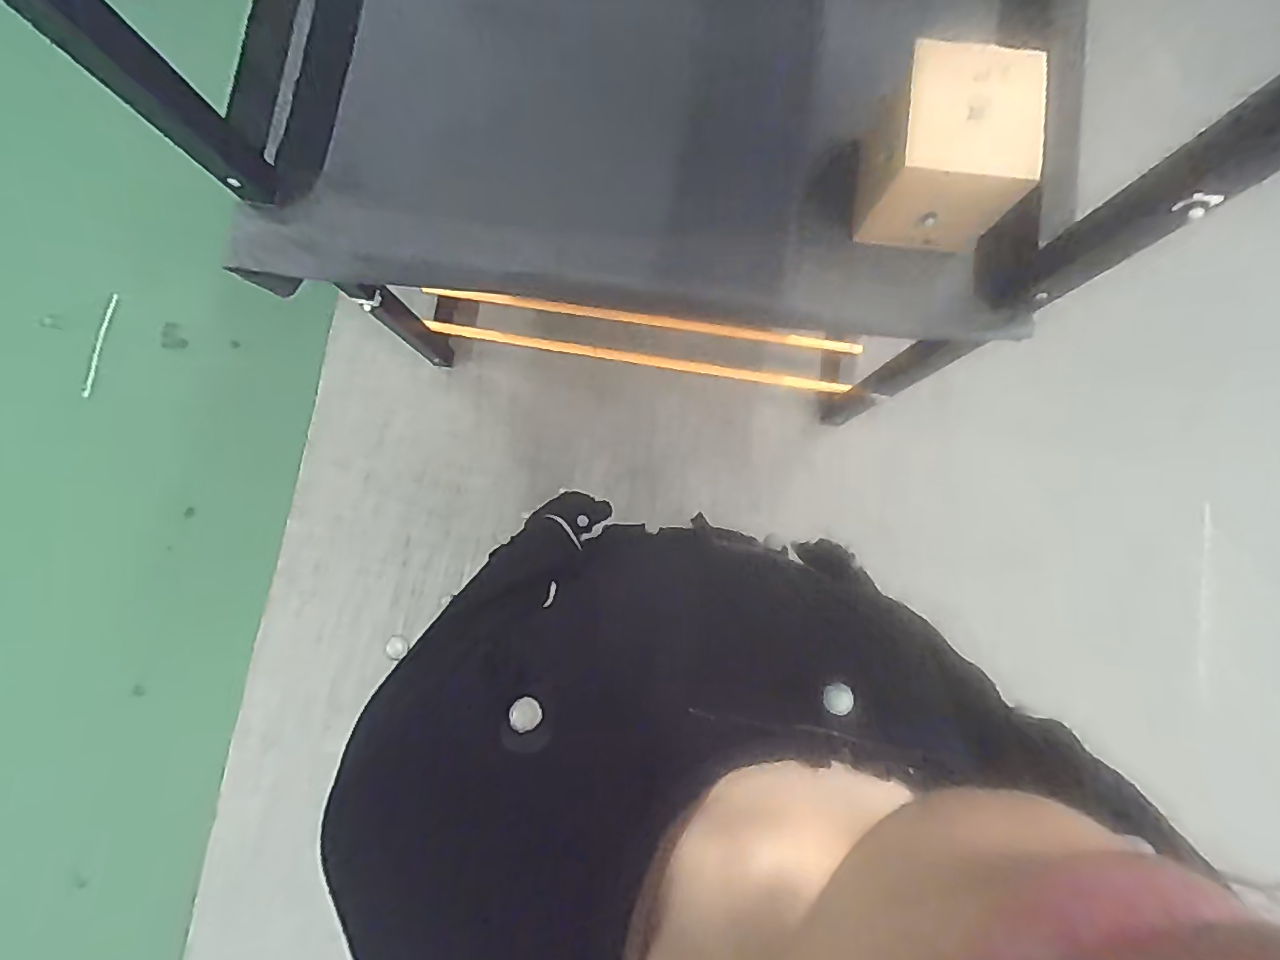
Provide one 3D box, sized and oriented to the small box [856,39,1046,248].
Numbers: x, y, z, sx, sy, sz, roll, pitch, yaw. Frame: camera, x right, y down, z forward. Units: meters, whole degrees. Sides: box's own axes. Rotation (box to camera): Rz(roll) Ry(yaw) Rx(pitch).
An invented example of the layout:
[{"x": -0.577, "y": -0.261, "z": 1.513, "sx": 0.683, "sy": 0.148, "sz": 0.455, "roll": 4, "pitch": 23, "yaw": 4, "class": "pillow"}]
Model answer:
[{"x": 0.410, "y": -0.445, "z": 0.740, "sx": 0.168, "sy": 0.176, "sz": 0.179, "roll": 7, "pitch": 83, "yaw": 1, "class": "small box"}]
